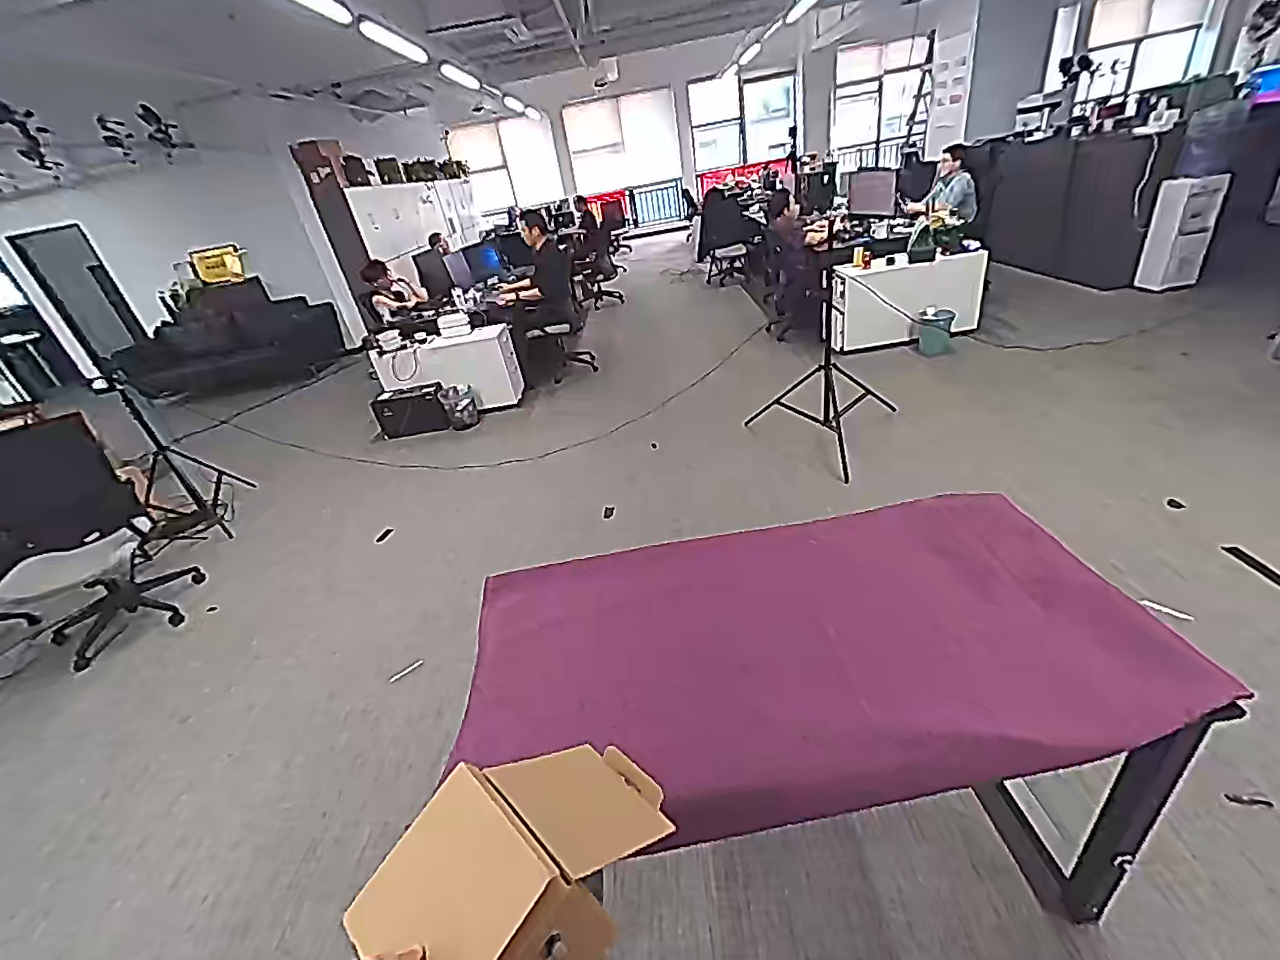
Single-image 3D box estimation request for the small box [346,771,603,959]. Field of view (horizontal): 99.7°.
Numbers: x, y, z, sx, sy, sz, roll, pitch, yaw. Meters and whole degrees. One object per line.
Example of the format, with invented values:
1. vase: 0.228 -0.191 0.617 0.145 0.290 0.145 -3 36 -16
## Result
1. small box: -0.157 0.459 0.564 0.168 0.176 0.179 22 52 41
